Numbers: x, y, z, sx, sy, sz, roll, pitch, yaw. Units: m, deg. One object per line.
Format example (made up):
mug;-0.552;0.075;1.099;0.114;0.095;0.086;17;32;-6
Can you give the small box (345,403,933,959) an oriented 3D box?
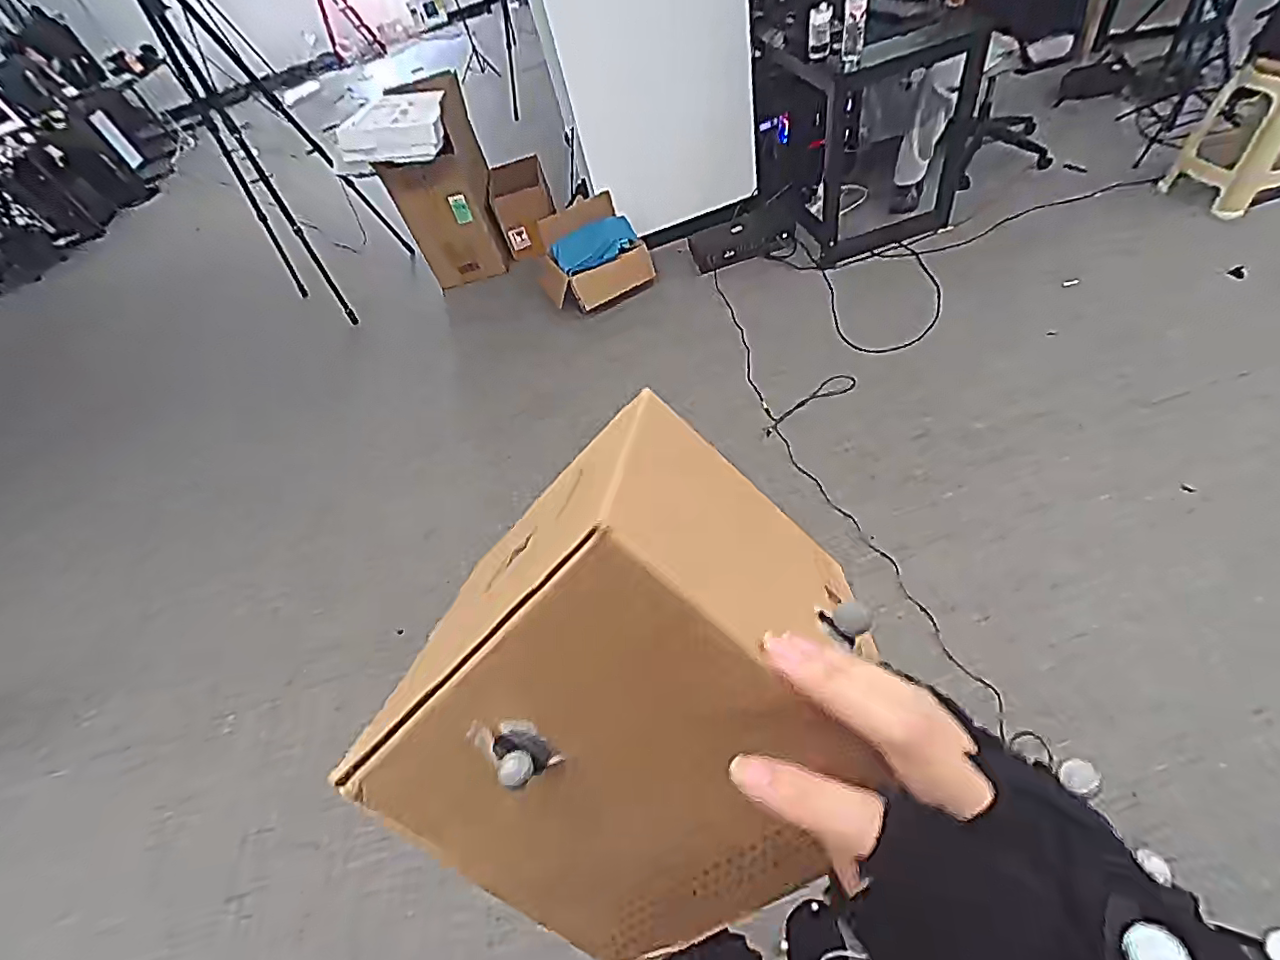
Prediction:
small box;0.003;0.095;0.281;0.179;0.176;0.168;-44;13;19
